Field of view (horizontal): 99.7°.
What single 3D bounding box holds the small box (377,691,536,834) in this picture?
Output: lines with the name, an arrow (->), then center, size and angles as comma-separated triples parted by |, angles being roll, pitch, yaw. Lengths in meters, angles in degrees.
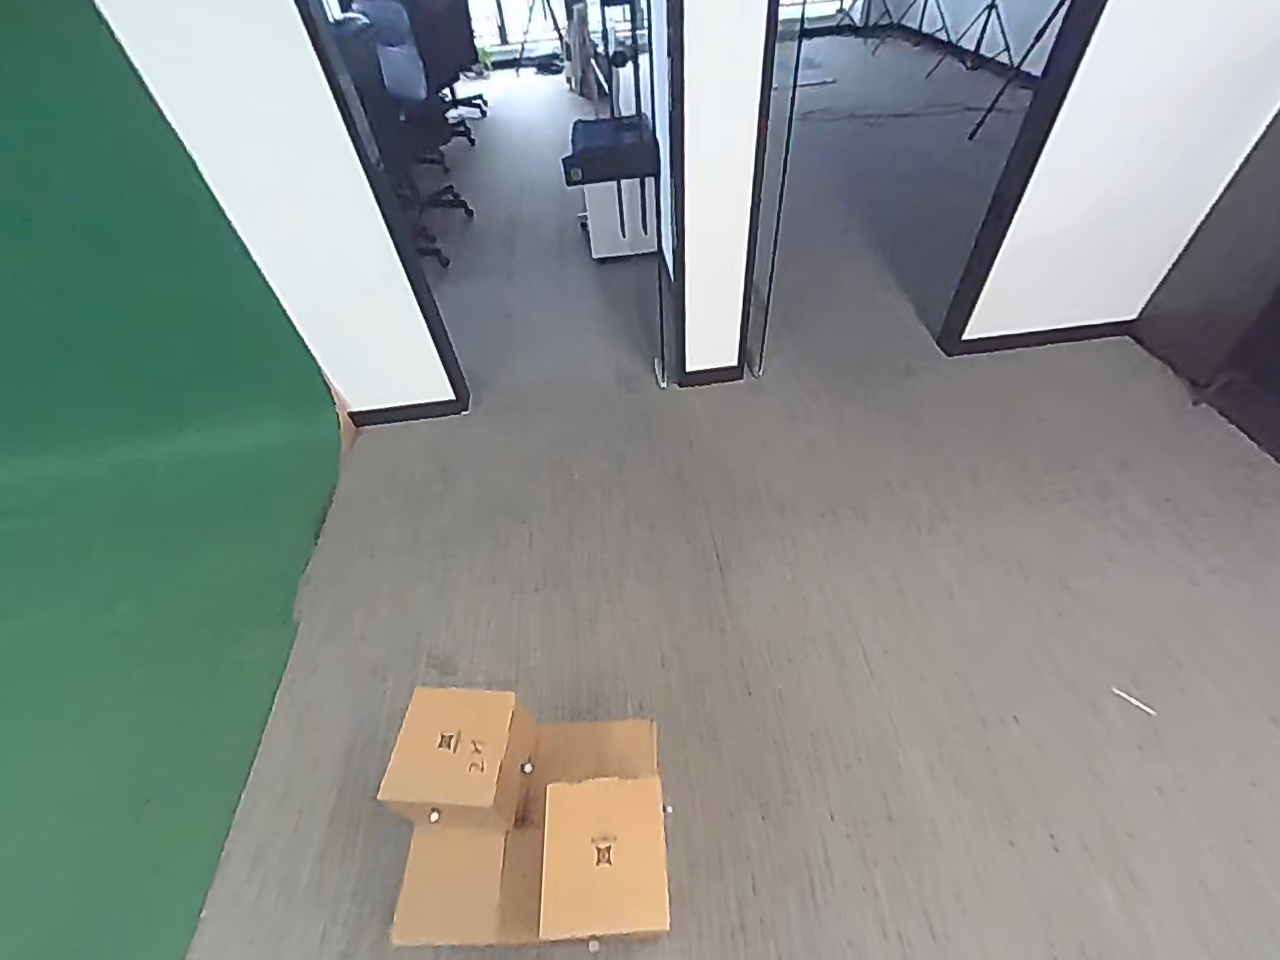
small box -> -0.285, 0.464, 0.886 | 0.179, 0.176, 0.168 | 2, 47, 5

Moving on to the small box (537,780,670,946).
small box -> -0.046, 0.555, 0.781 | 0.168, 0.176, 0.179 | -4, 47, 0
